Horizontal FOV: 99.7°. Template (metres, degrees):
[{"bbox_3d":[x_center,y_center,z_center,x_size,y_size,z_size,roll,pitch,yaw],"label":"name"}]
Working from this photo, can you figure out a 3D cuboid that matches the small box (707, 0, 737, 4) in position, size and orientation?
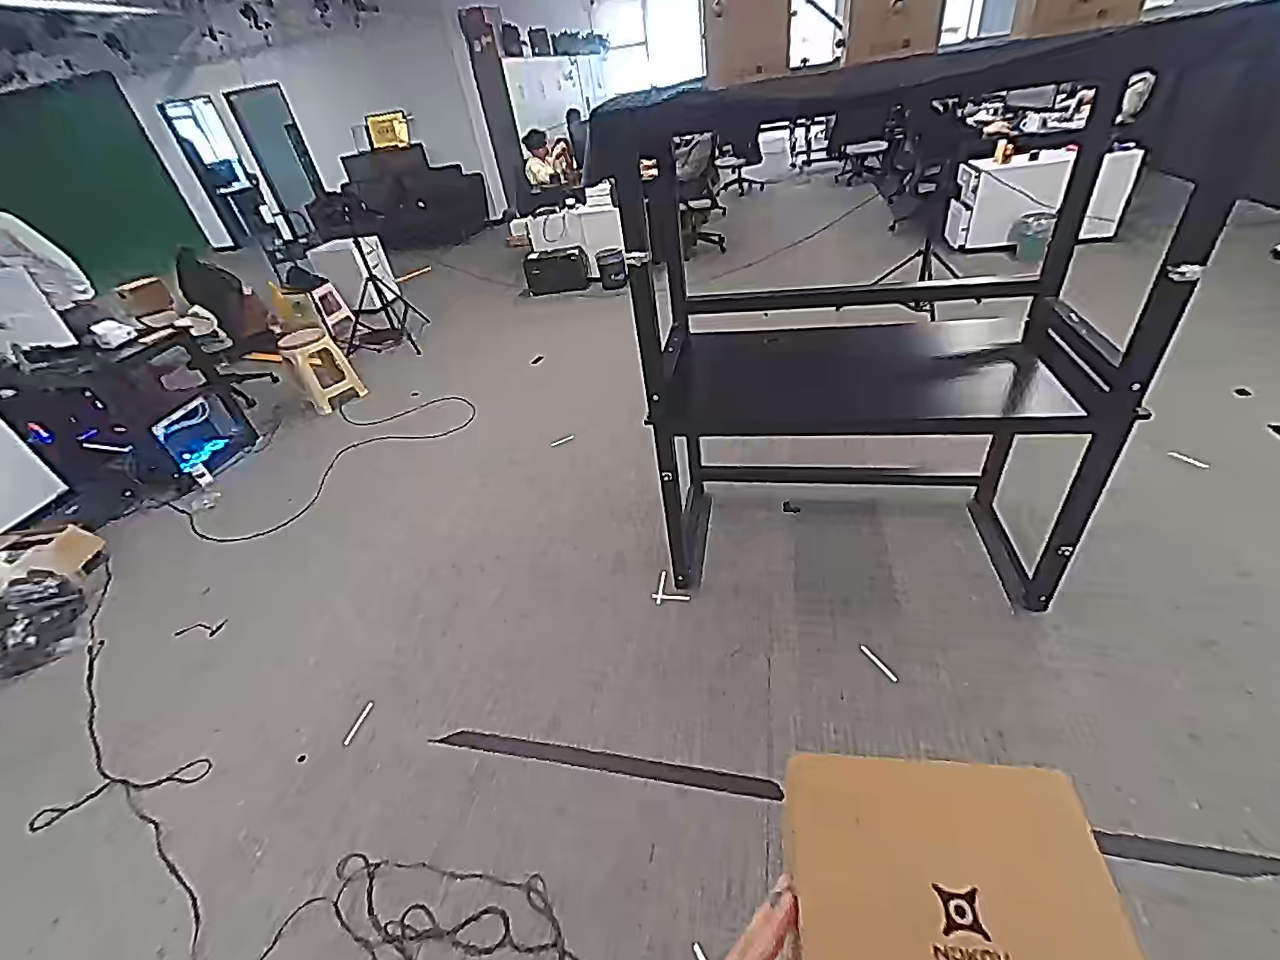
[{"bbox_3d":[0.199,-1.025,1.019,0.168,0.176,0.179,0,37,14],"label":"small box"}]

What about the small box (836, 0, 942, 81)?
[{"bbox_3d":[0.479,-0.890,1.048,0.168,0.176,0.179,2,36,14],"label":"small box"}]

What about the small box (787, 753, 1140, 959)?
[{"bbox_3d":[0.185,0.302,0.343,0.168,0.176,0.179,-2,42,11],"label":"small box"}]

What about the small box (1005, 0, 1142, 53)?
[{"bbox_3d":[0.782,-0.882,0.969,0.168,0.176,0.179,4,38,19],"label":"small box"}]
